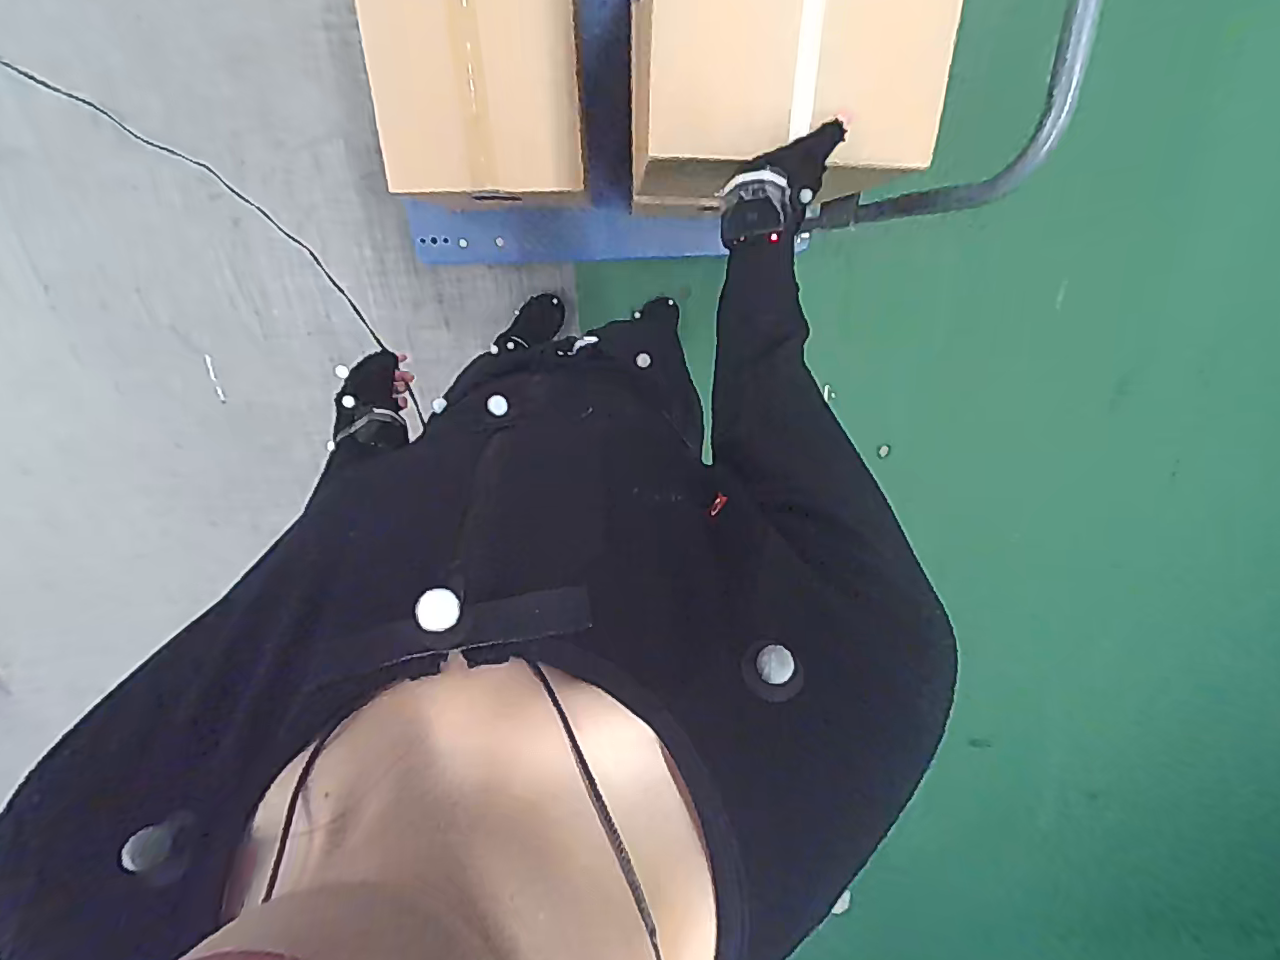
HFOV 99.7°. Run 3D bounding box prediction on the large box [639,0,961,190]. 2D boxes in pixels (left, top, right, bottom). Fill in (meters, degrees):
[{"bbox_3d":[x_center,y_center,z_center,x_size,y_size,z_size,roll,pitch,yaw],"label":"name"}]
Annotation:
[{"bbox_3d":[0.157,-0.585,0.634,0.320,0.320,0.408,0,111,-3],"label":"large box"}]
